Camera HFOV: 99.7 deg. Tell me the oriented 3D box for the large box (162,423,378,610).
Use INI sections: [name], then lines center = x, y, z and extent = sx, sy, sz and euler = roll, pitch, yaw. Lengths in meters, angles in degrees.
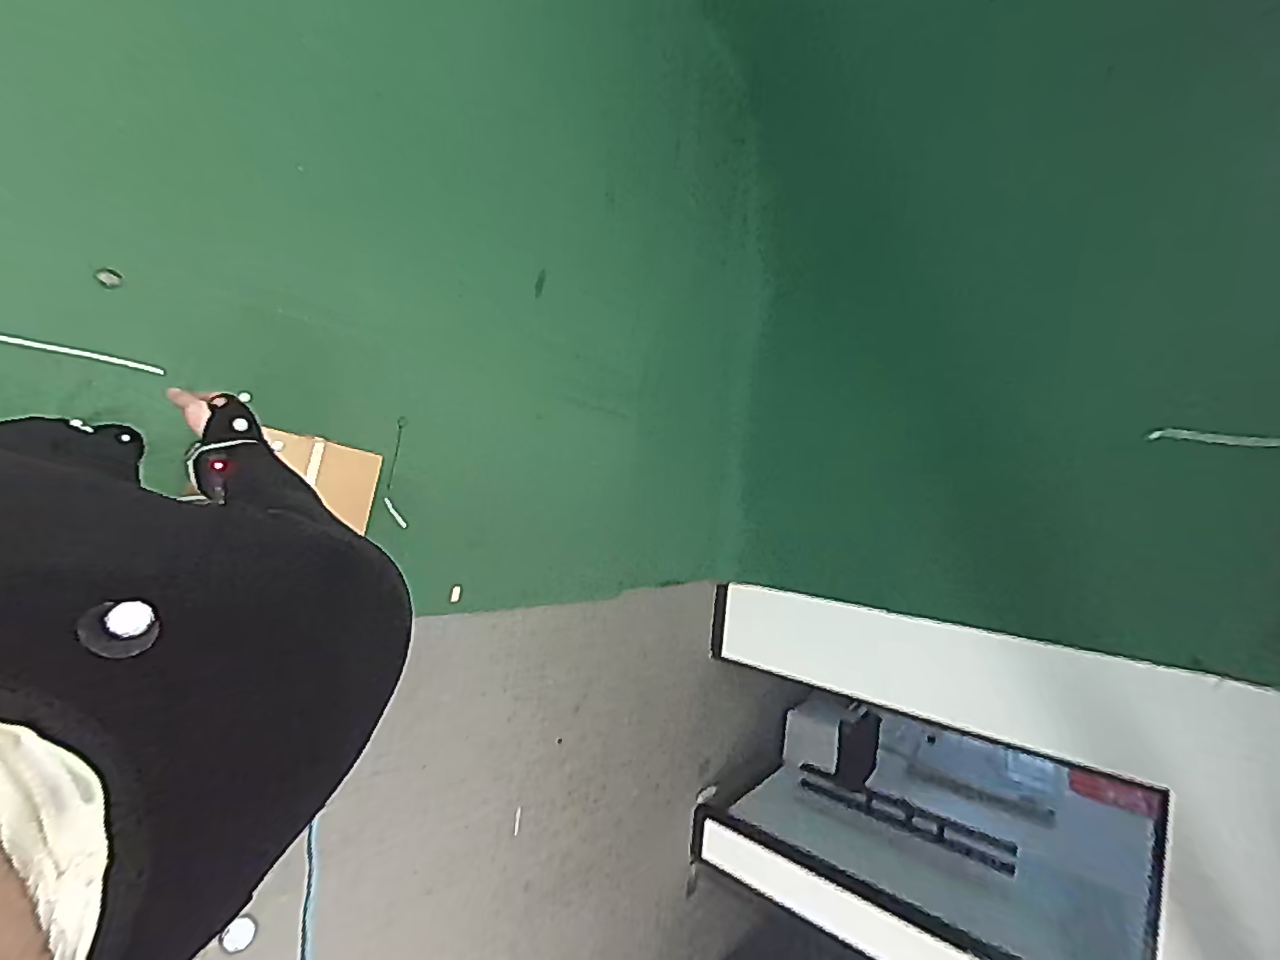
[large box]
center = -0.912, 0.088, 1.343
extent = 0.320, 0.320, 0.408
euler = 18, 80, -50
